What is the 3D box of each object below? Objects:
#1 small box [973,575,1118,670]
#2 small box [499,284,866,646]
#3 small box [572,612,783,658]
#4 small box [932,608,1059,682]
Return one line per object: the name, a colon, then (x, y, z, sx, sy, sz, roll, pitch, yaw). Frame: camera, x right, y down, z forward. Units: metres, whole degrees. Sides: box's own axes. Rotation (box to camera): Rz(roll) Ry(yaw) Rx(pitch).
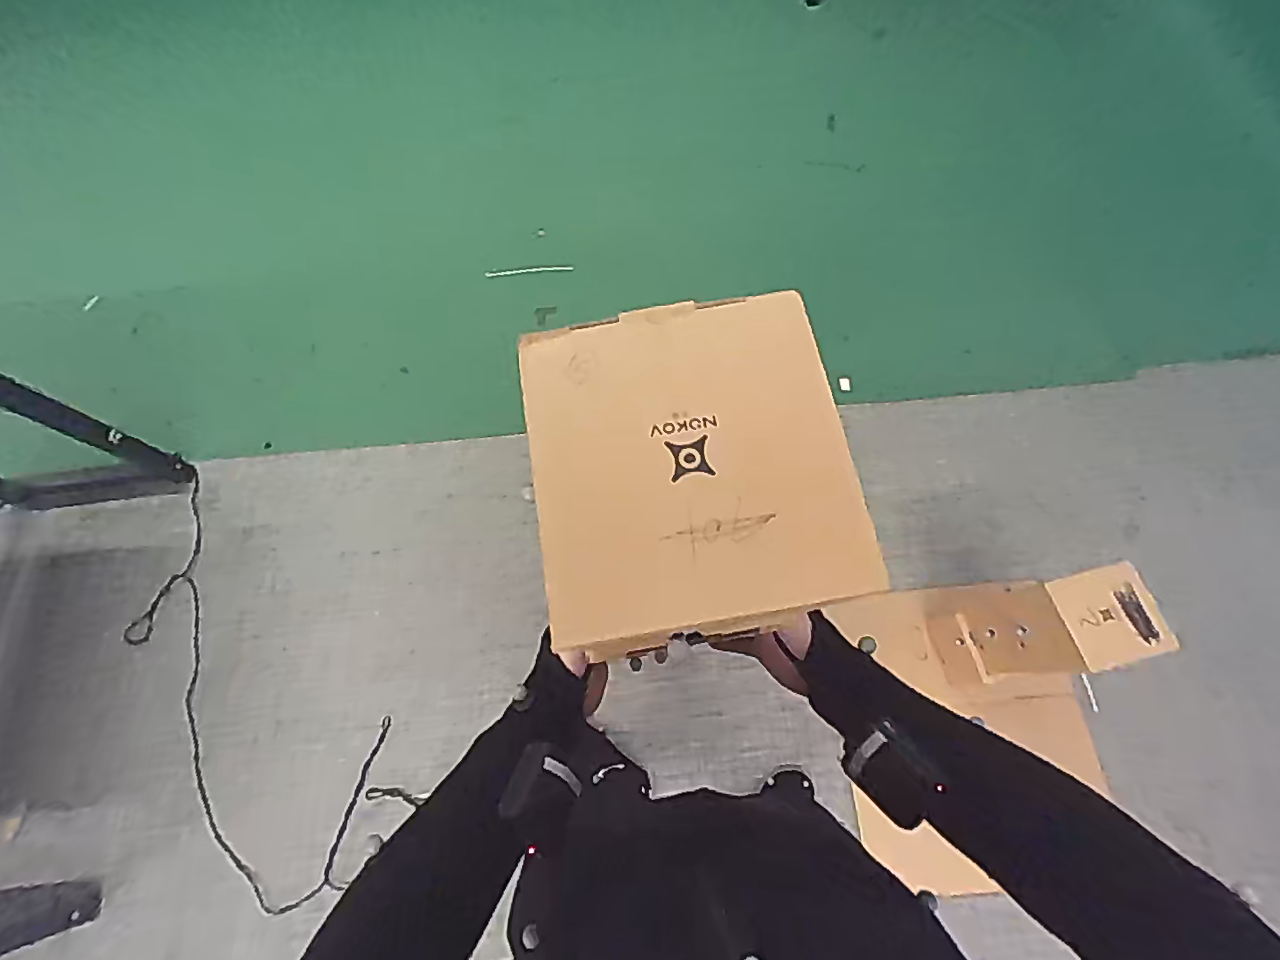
small box: (0.877, 0.320, 1.198, 0.179, 0.176, 0.168, -11, 70, -2)
small box: (0.016, 0.006, 0.355, 0.168, 0.176, 0.179, -10, 73, -1)
small box: (0.019, 0.063, 0.508, 0.168, 0.176, 0.179, -11, 72, -2)
small box: (0.871, 0.400, 1.344, 0.179, 0.176, 0.168, -12, 69, -2)
